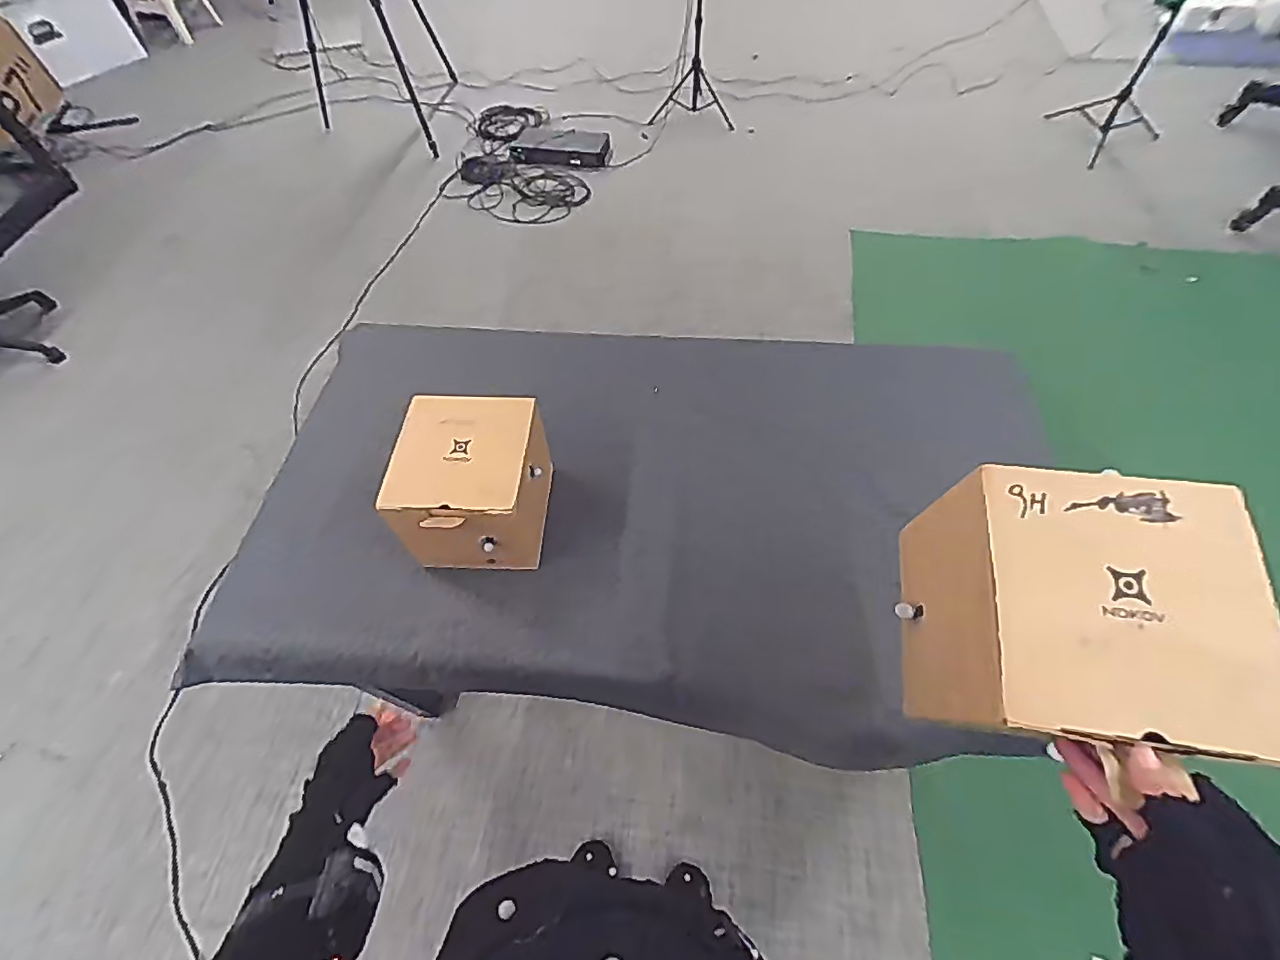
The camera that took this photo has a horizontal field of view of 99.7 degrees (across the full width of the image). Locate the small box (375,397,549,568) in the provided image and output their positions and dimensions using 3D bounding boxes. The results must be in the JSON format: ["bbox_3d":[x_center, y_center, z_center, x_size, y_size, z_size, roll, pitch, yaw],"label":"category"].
[{"bbox_3d":[-0.223,0.009,0.734,0.168,0.176,0.179,2,56,1],"label":"small box"}]

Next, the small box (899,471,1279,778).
[{"bbox_3d":[0.316,0.110,0.421,0.168,0.176,0.179,6,70,7],"label":"small box"}]
